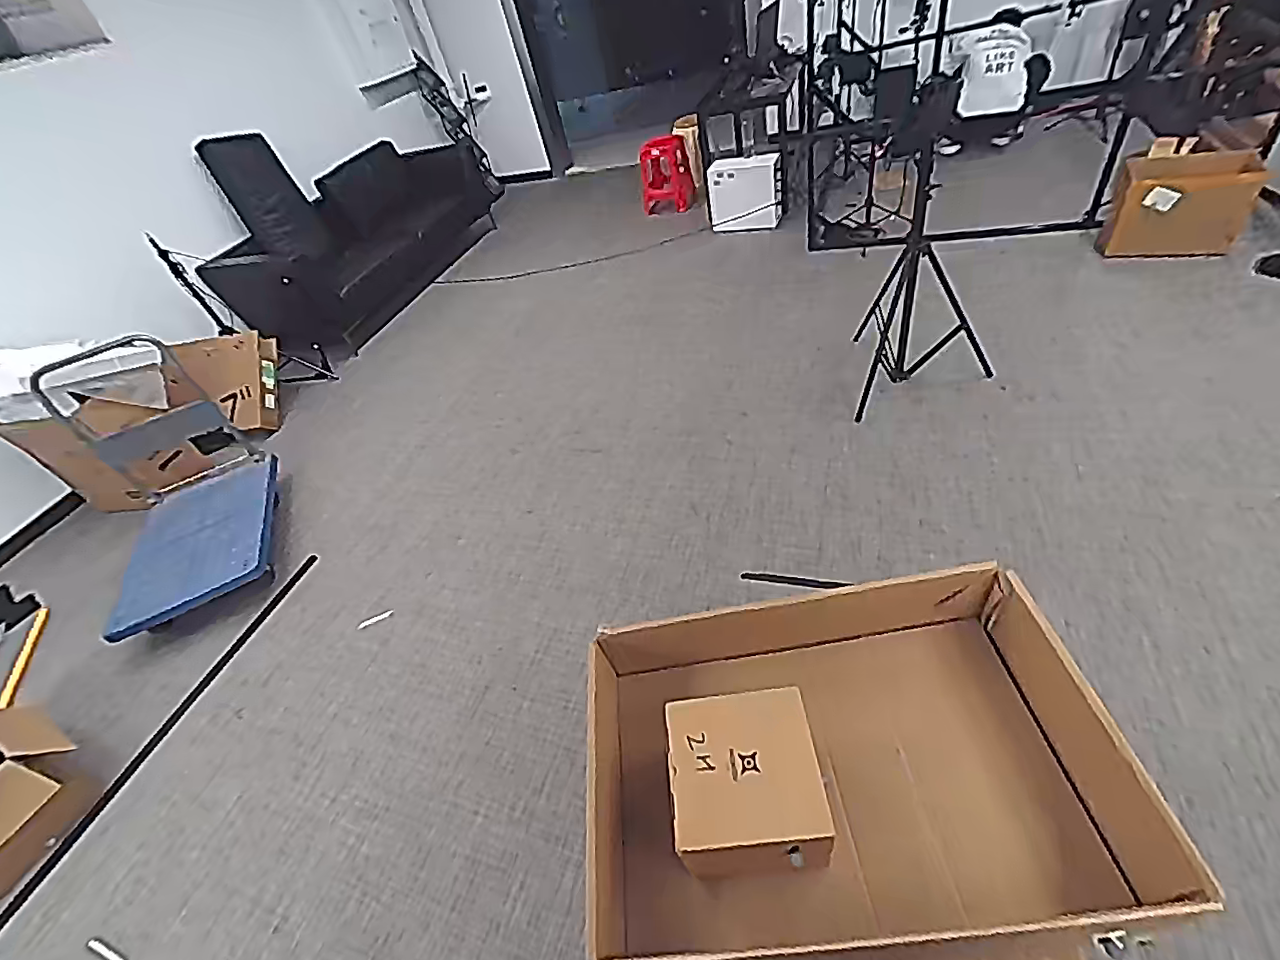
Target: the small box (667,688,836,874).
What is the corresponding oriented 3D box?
[{"bbox_3d":[0.139,0.390,0.696,0.179,0.176,0.168,-11,44,7],"label":"small box"}]
